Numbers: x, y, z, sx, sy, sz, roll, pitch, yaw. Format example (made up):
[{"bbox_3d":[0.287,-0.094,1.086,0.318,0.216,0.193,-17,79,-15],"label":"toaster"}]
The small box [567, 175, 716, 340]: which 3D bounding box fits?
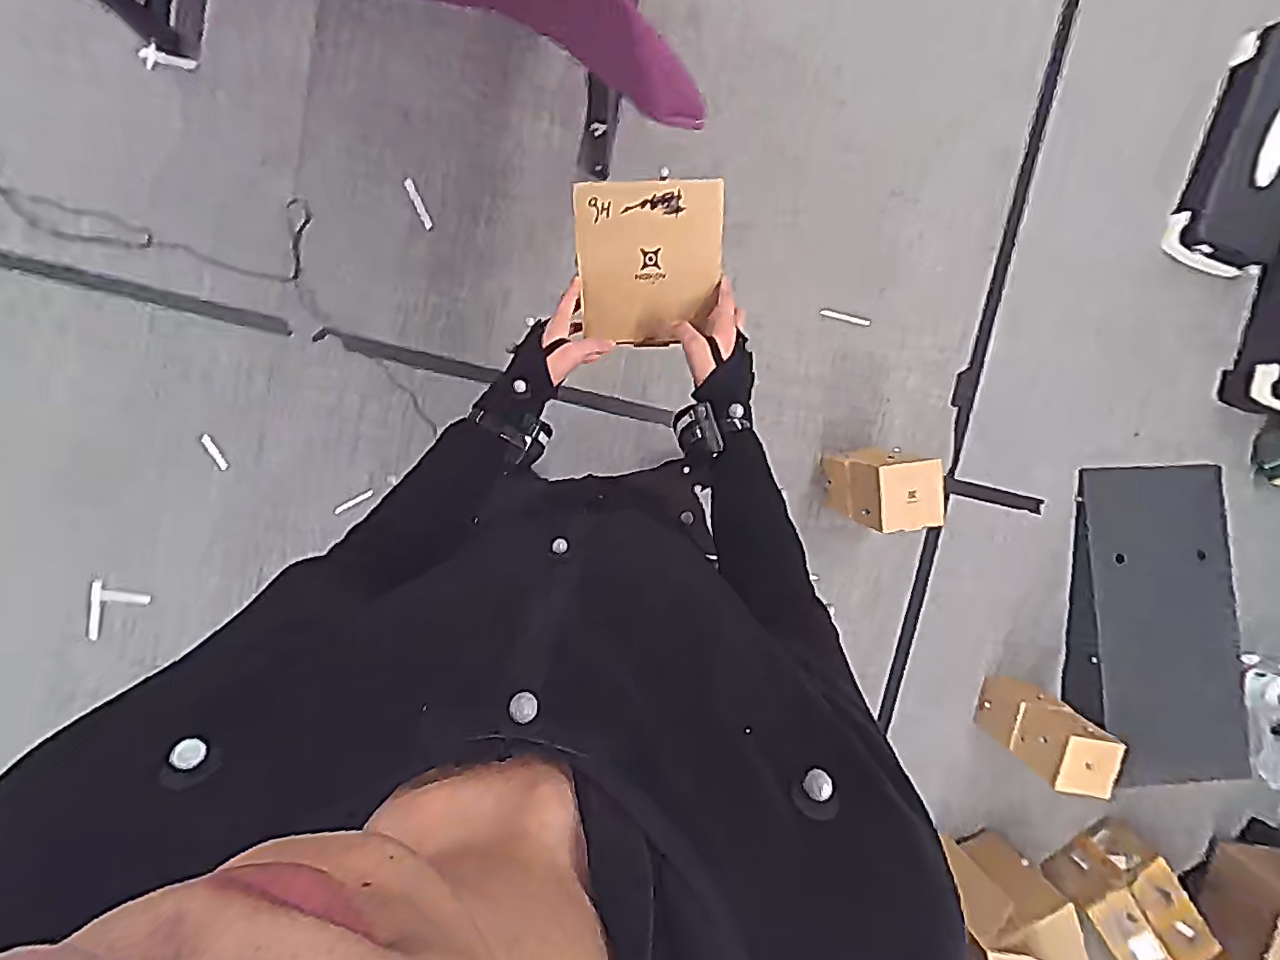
[{"bbox_3d":[0.003,-0.285,0.691,0.168,0.176,0.179,-1,116,0],"label":"small box"}]
